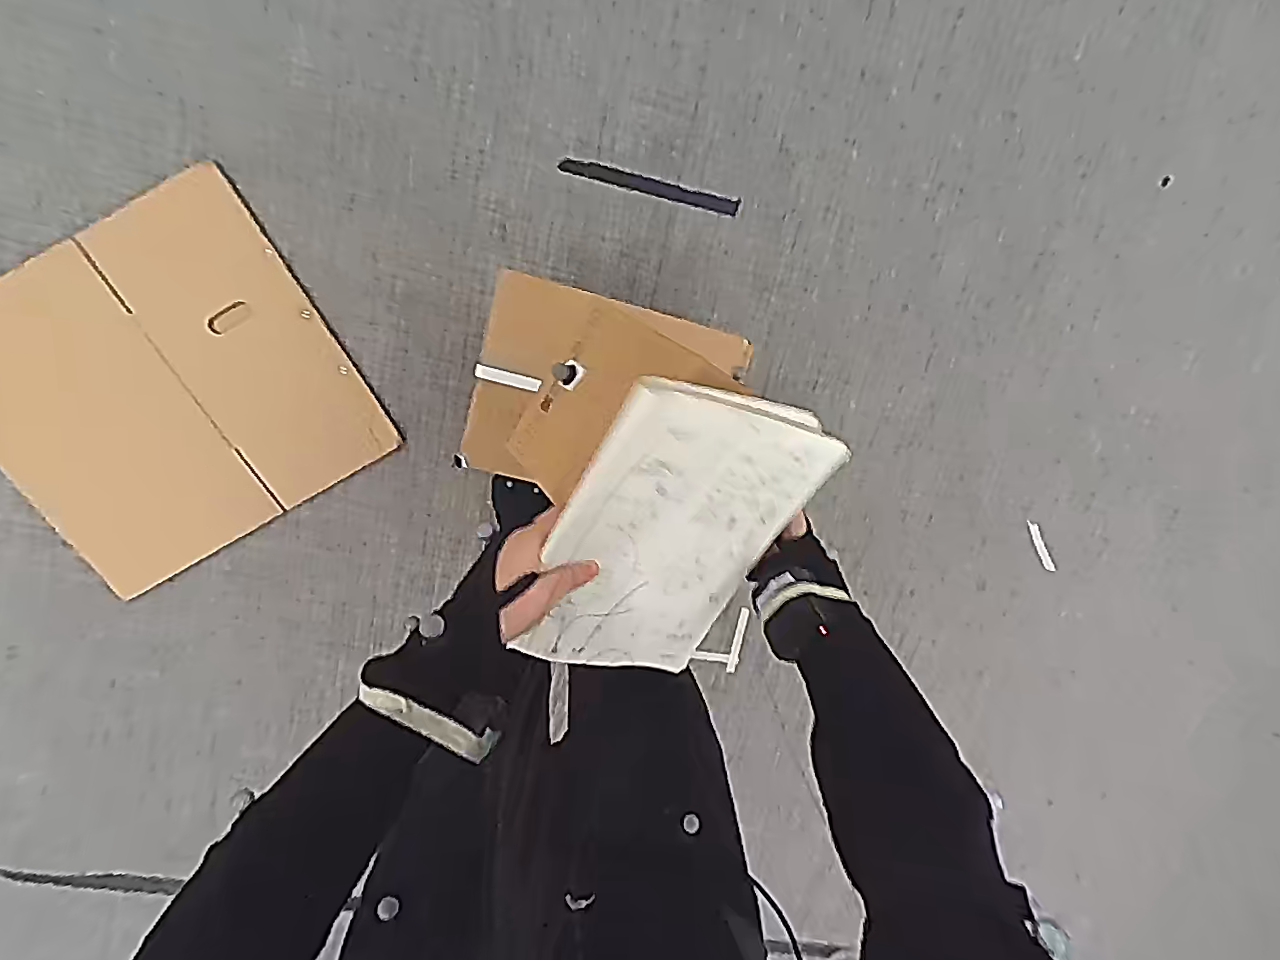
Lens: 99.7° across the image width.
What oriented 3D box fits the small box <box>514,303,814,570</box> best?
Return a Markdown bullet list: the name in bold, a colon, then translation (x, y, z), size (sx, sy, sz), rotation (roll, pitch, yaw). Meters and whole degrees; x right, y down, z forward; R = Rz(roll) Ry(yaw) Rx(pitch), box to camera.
- **small box**: translation (0.018, -0.038, 0.500), size (0.179, 0.176, 0.168), rotation (19, 108, -46)
